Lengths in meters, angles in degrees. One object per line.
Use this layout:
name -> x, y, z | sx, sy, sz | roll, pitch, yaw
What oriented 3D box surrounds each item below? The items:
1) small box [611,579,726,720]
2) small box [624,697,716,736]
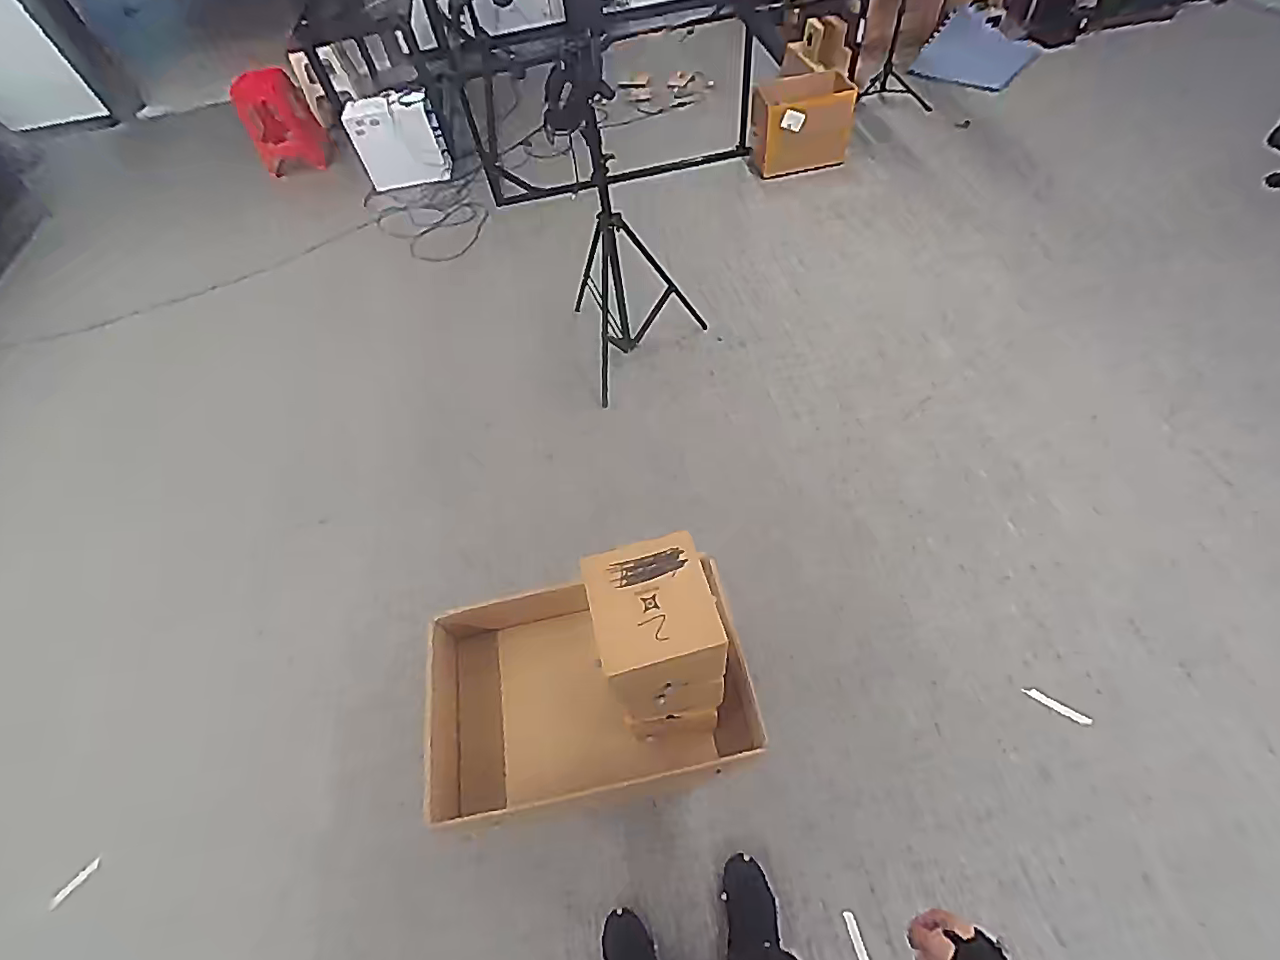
small box -> 0.048, 0.296, 0.933 | 0.168, 0.176, 0.179 | -10, 55, 0
small box -> 0.057, 0.395, 1.063 | 0.168, 0.176, 0.179 | -6, 55, 1
